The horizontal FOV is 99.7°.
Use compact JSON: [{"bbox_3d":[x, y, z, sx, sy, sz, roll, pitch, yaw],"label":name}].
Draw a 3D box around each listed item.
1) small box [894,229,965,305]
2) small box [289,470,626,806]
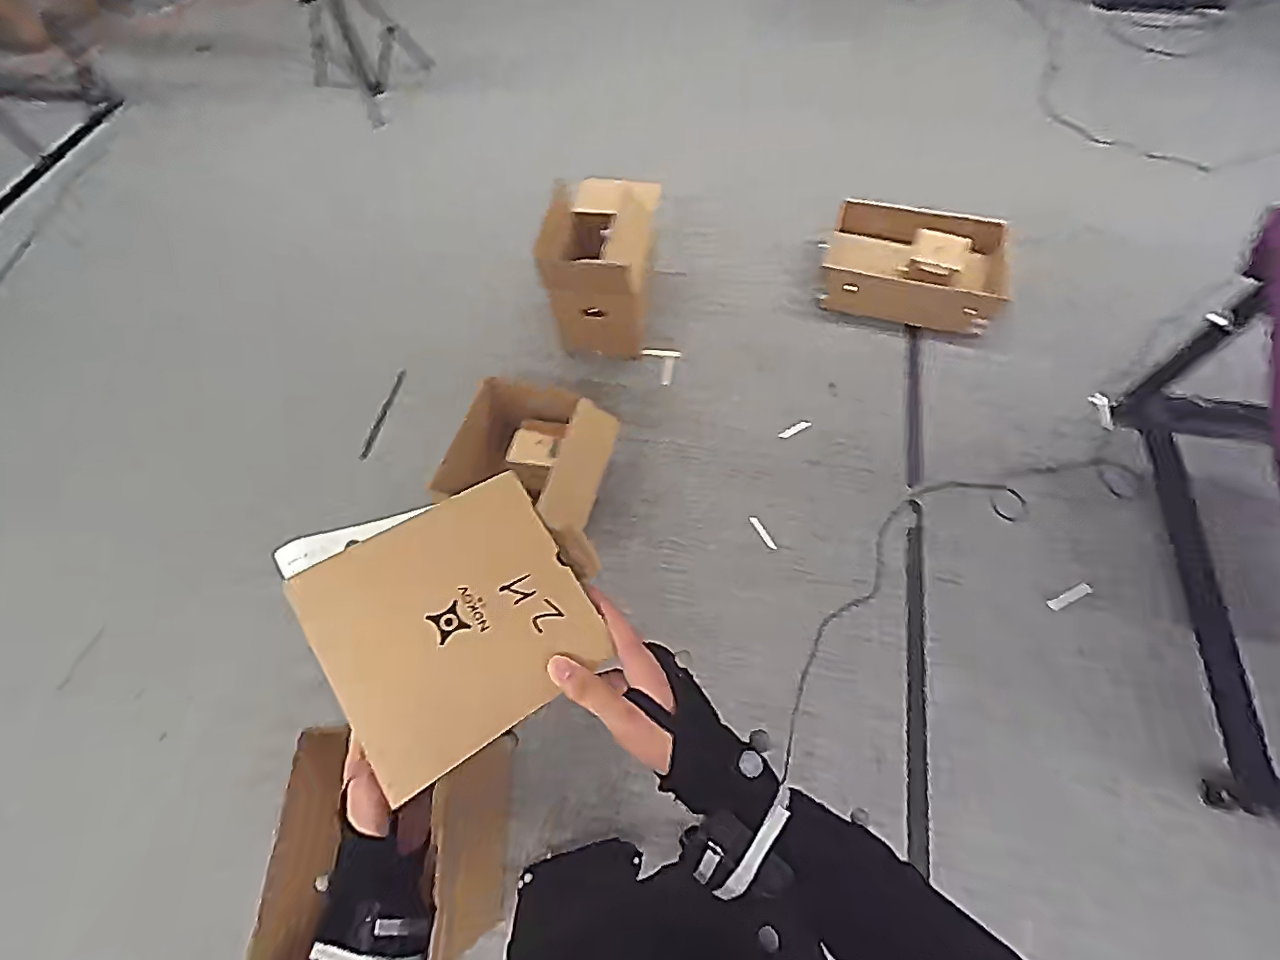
[{"bbox_3d":[1.041,-0.768,1.956,0.168,0.176,0.179,21,66,14],"label":"small box"},{"bbox_3d":[-0.139,0.123,0.442,0.179,0.176,0.168,-27,79,-24],"label":"small box"}]
